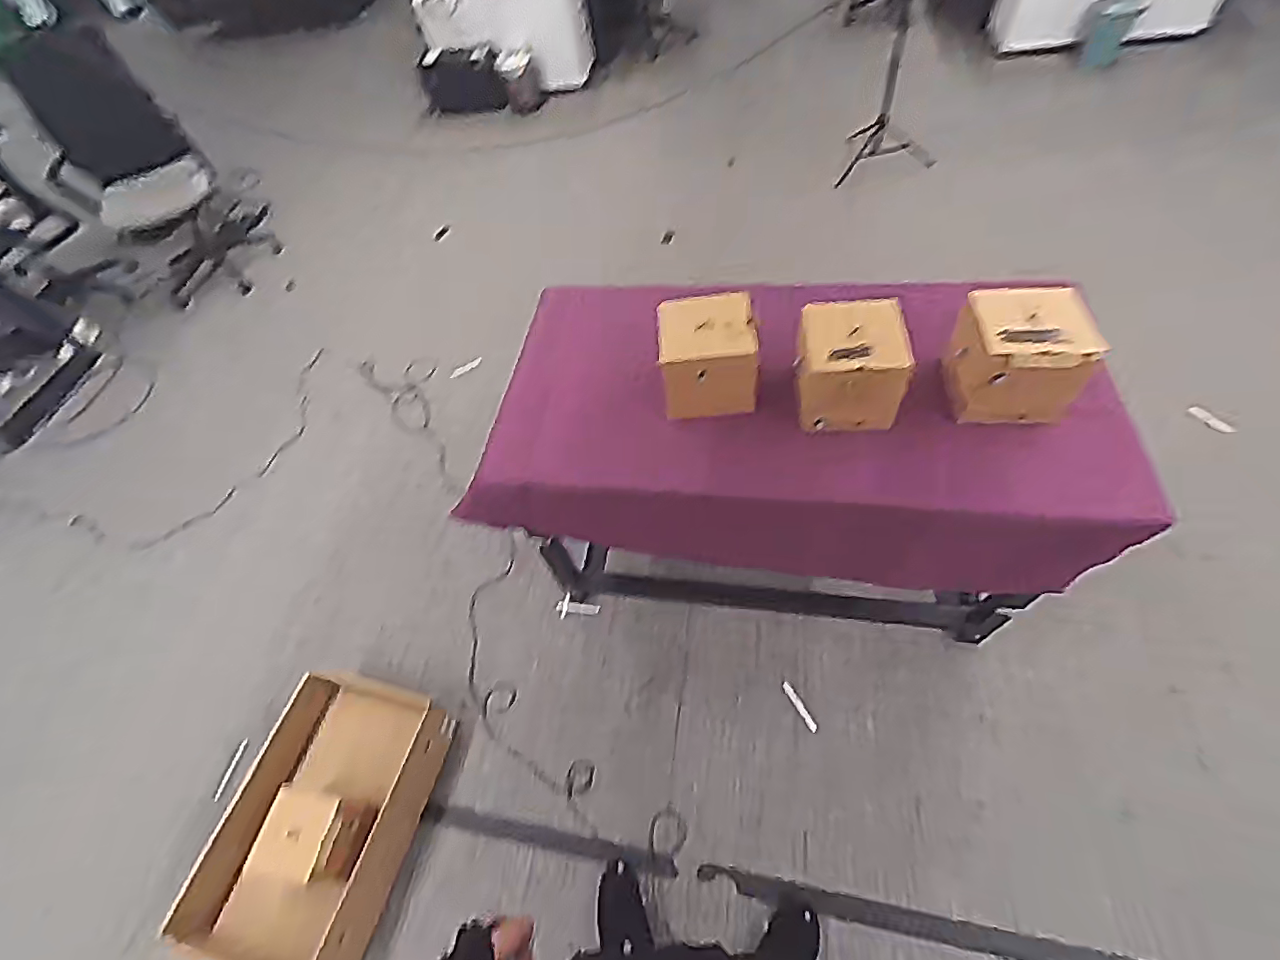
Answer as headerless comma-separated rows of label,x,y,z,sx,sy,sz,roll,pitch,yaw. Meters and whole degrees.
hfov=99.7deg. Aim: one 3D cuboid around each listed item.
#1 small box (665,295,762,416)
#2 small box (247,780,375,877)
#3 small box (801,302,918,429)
small box,0.146,-0.242,1.082,0.179,0.176,0.168,-3,57,6
small box,-0.792,0.852,1.326,0.179,0.176,0.168,5,56,12
small box,0.402,-0.209,1.020,0.168,0.176,0.179,0,56,9
